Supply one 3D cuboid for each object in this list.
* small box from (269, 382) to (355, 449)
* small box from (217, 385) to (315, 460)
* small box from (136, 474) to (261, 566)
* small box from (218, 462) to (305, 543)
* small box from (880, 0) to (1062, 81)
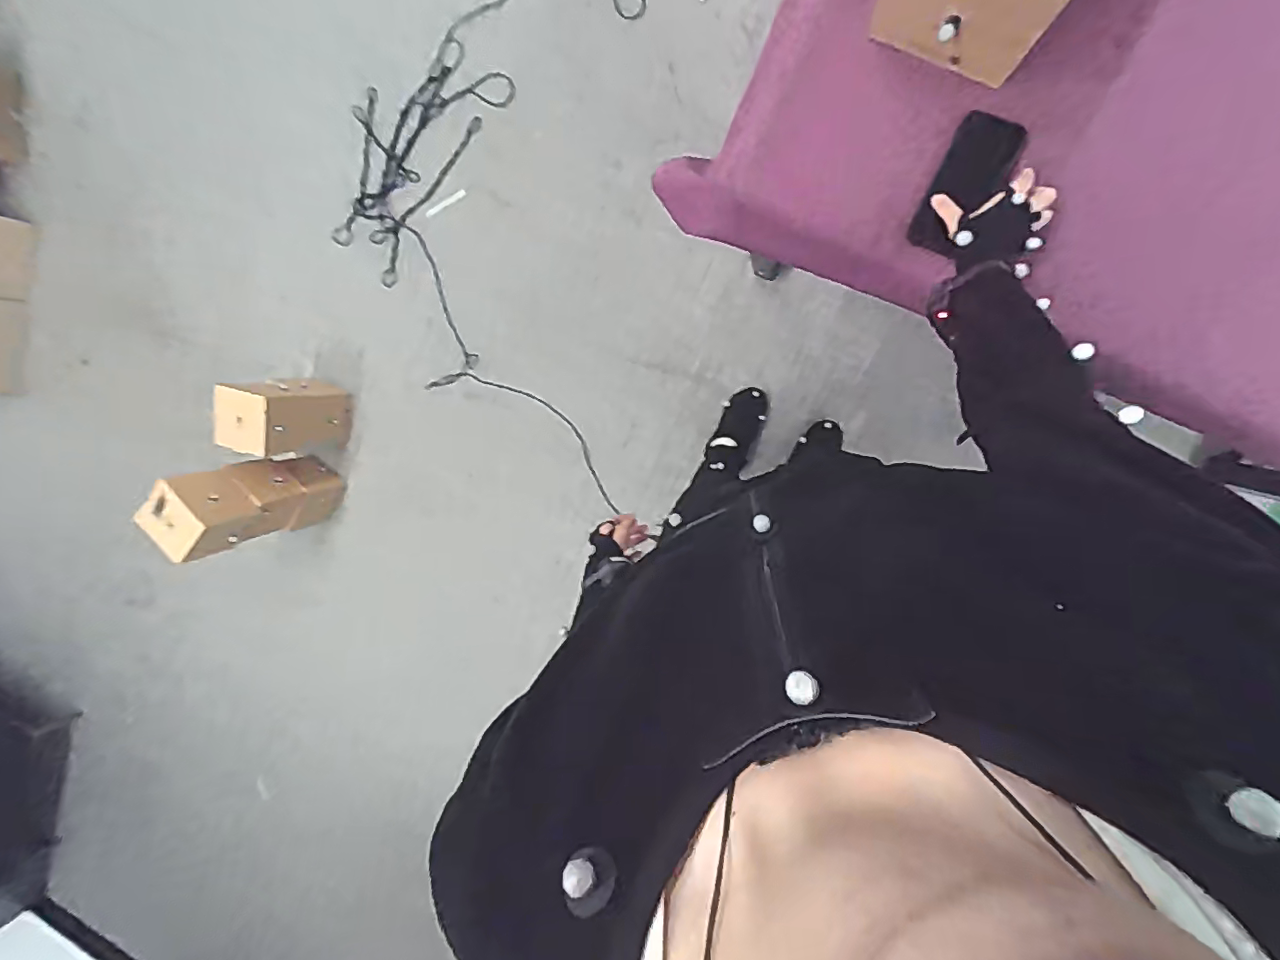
[{"bbox_3d":[-1.044,-0.212,1.718,0.179,0.176,0.168,19,104,11],"label":"small box"},{"bbox_3d":[-1.076,-0.171,1.563,0.168,0.176,0.179,15,104,11],"label":"small box"},{"bbox_3d":[-1.197,0.100,1.476,0.168,0.176,0.179,-43,88,17],"label":"small box"},{"bbox_3d":[-1.163,0.066,1.634,0.168,0.176,0.179,43,106,4],"label":"small box"},{"bbox_3d":[0.359,-0.545,0.531,0.168,0.176,0.179,29,107,8],"label":"small box"}]
